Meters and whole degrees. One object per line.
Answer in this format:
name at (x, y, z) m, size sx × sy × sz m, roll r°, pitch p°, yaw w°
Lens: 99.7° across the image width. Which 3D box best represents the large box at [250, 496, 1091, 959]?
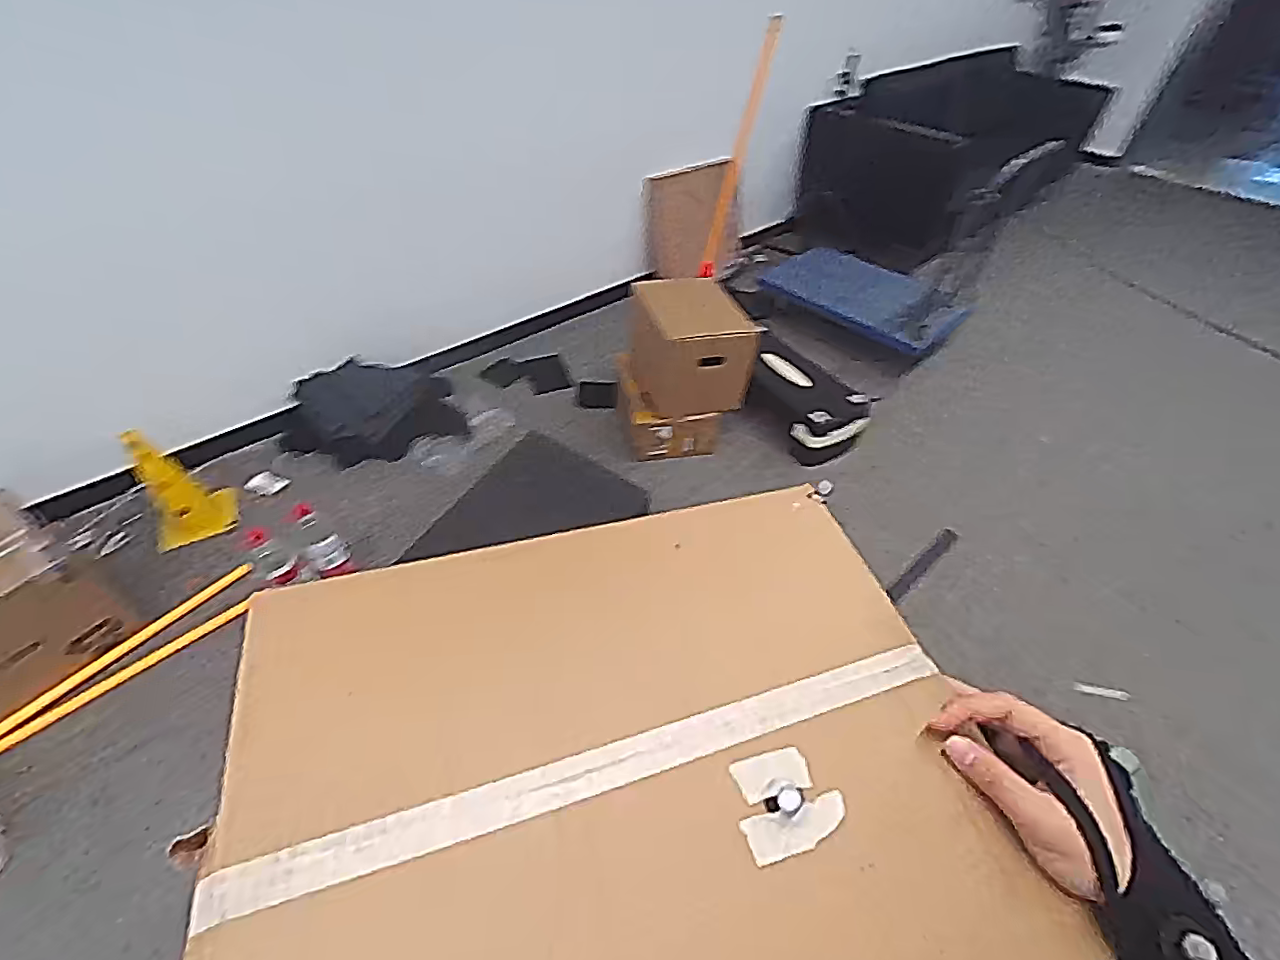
large box at (-0.014, 0.254, 0.422) m, size 0.408 × 0.320 × 0.320 m, roll -9°, pitch 52°, yaw -17°
